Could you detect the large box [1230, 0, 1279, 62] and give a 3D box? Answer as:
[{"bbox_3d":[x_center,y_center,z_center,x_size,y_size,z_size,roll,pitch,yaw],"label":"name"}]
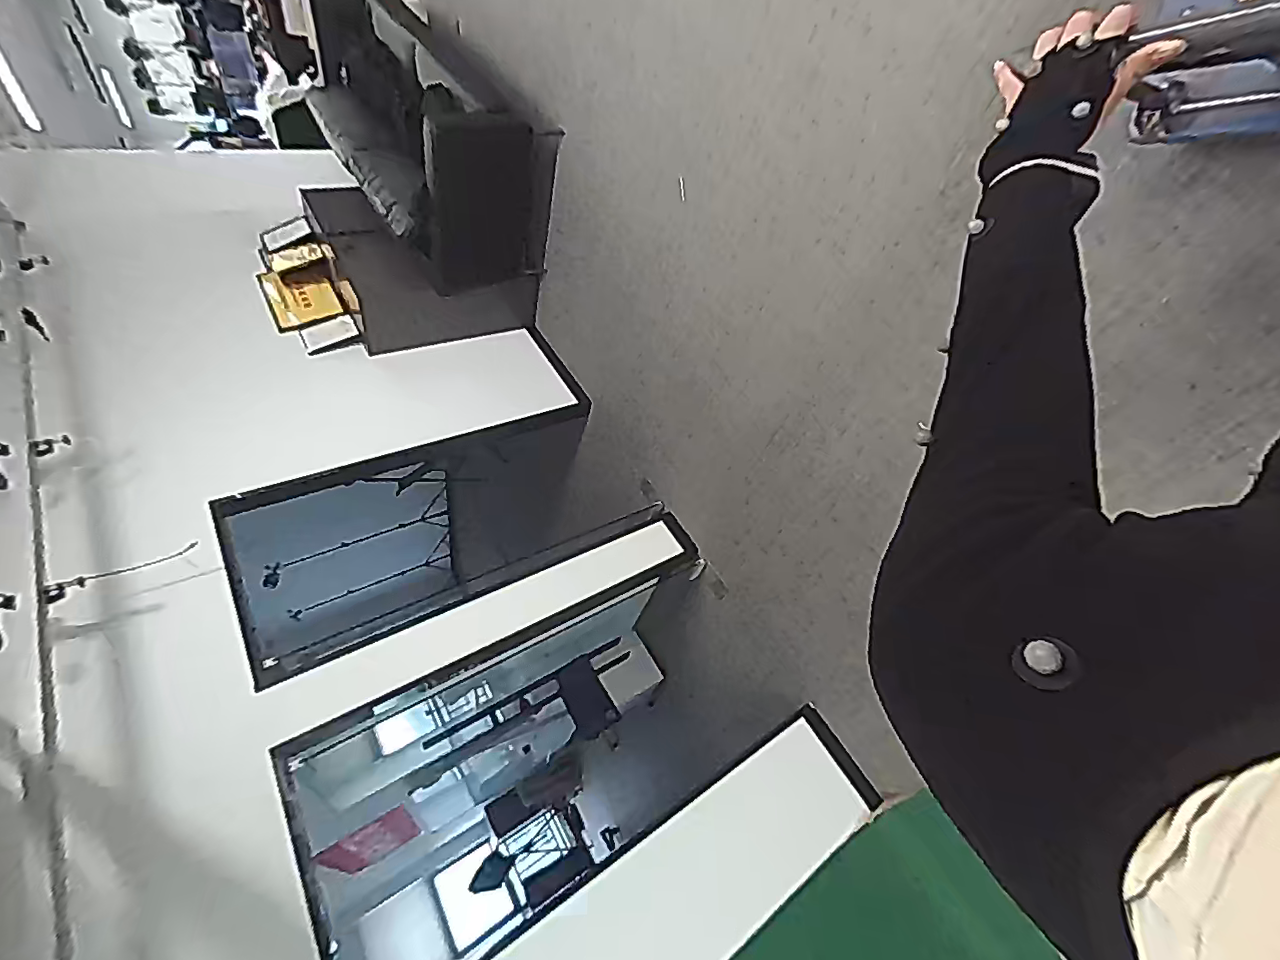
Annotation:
[{"bbox_3d":[0.972,-0.750,0.589,0.320,0.320,0.408,29,130,48],"label":"large box"}]
